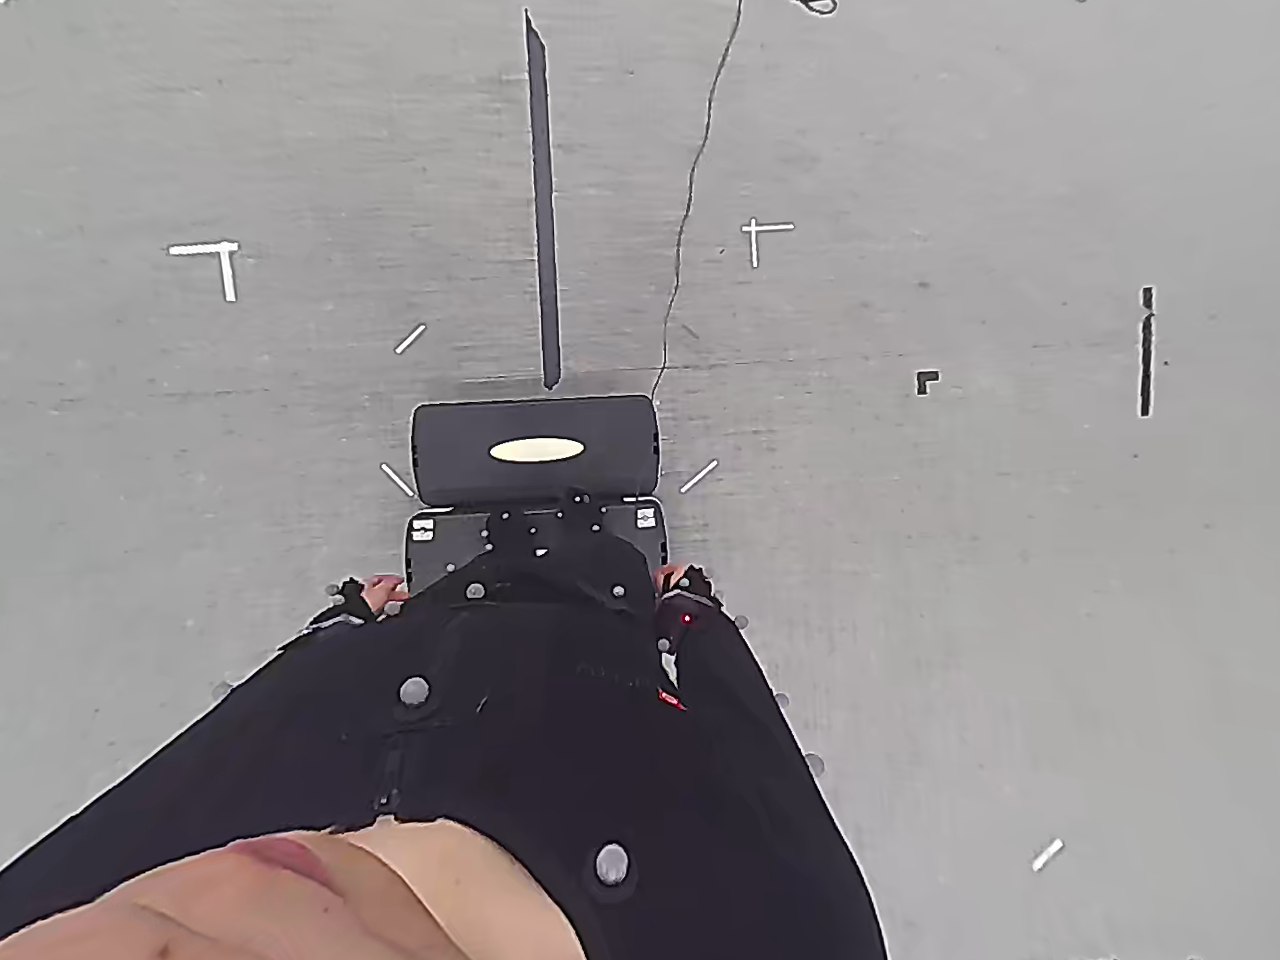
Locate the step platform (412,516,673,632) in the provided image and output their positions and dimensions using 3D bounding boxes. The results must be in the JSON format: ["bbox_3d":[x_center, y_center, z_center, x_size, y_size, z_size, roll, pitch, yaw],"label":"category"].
[{"bbox_3d":[-0.250,0.252,1.467,0.684,0.204,0.286,1,90,-3],"label":"step platform"}]
